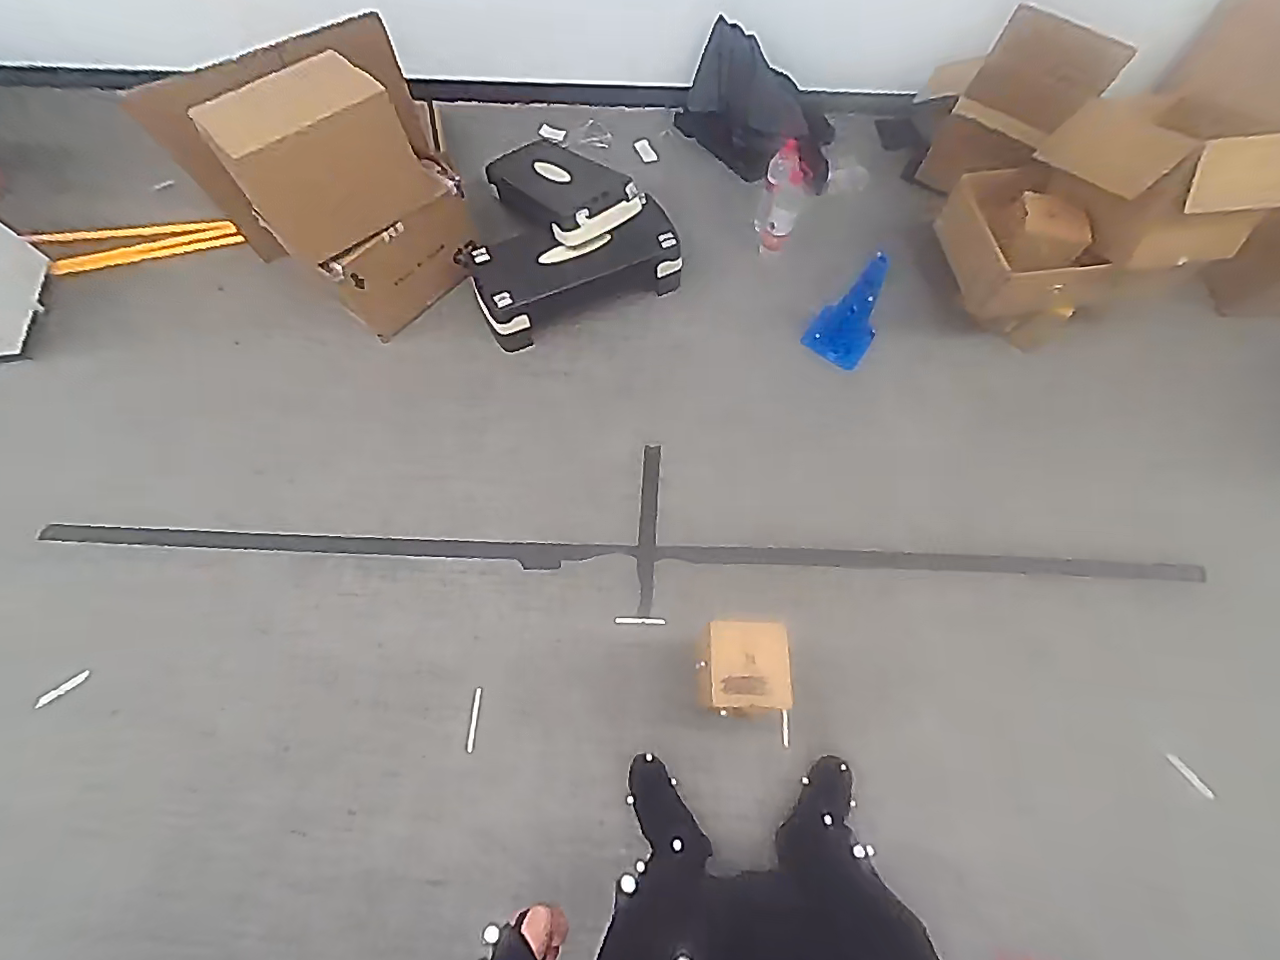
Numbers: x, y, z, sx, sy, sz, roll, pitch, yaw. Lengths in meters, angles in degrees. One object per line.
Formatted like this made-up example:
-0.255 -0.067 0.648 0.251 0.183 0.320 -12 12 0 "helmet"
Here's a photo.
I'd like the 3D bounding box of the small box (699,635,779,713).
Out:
0.240 0.488 1.358 0.168 0.176 0.179 -1 69 0 "small box"
